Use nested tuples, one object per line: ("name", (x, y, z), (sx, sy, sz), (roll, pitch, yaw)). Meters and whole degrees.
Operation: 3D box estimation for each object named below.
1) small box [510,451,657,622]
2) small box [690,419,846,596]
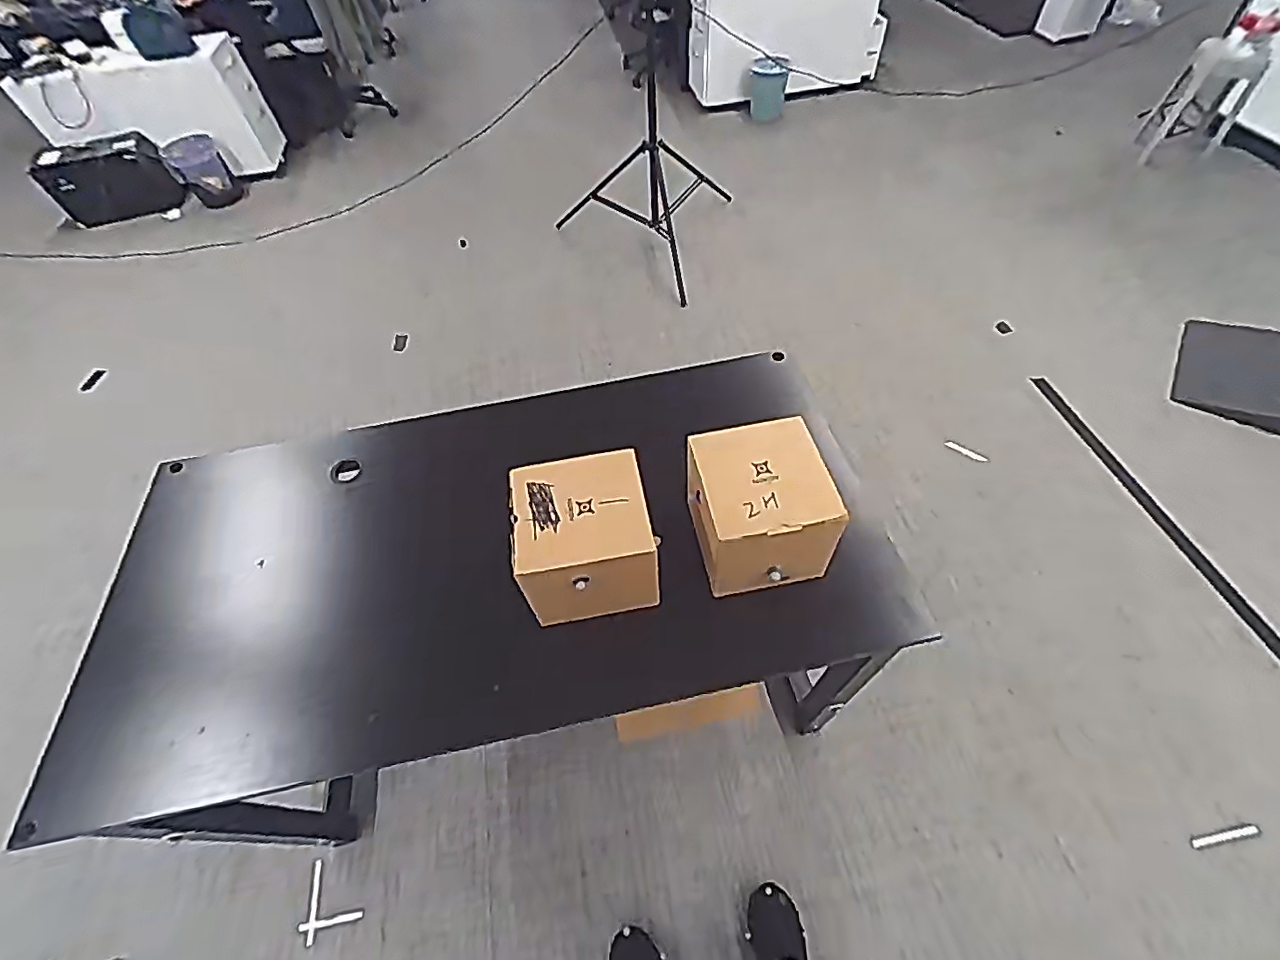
("small box", (-0.075, 0.086, 0.762), (0.179, 0.176, 0.168), (-9, 54, -3))
("small box", (0.166, 0.042, 0.773), (0.168, 0.176, 0.179), (-11, 54, -2))
